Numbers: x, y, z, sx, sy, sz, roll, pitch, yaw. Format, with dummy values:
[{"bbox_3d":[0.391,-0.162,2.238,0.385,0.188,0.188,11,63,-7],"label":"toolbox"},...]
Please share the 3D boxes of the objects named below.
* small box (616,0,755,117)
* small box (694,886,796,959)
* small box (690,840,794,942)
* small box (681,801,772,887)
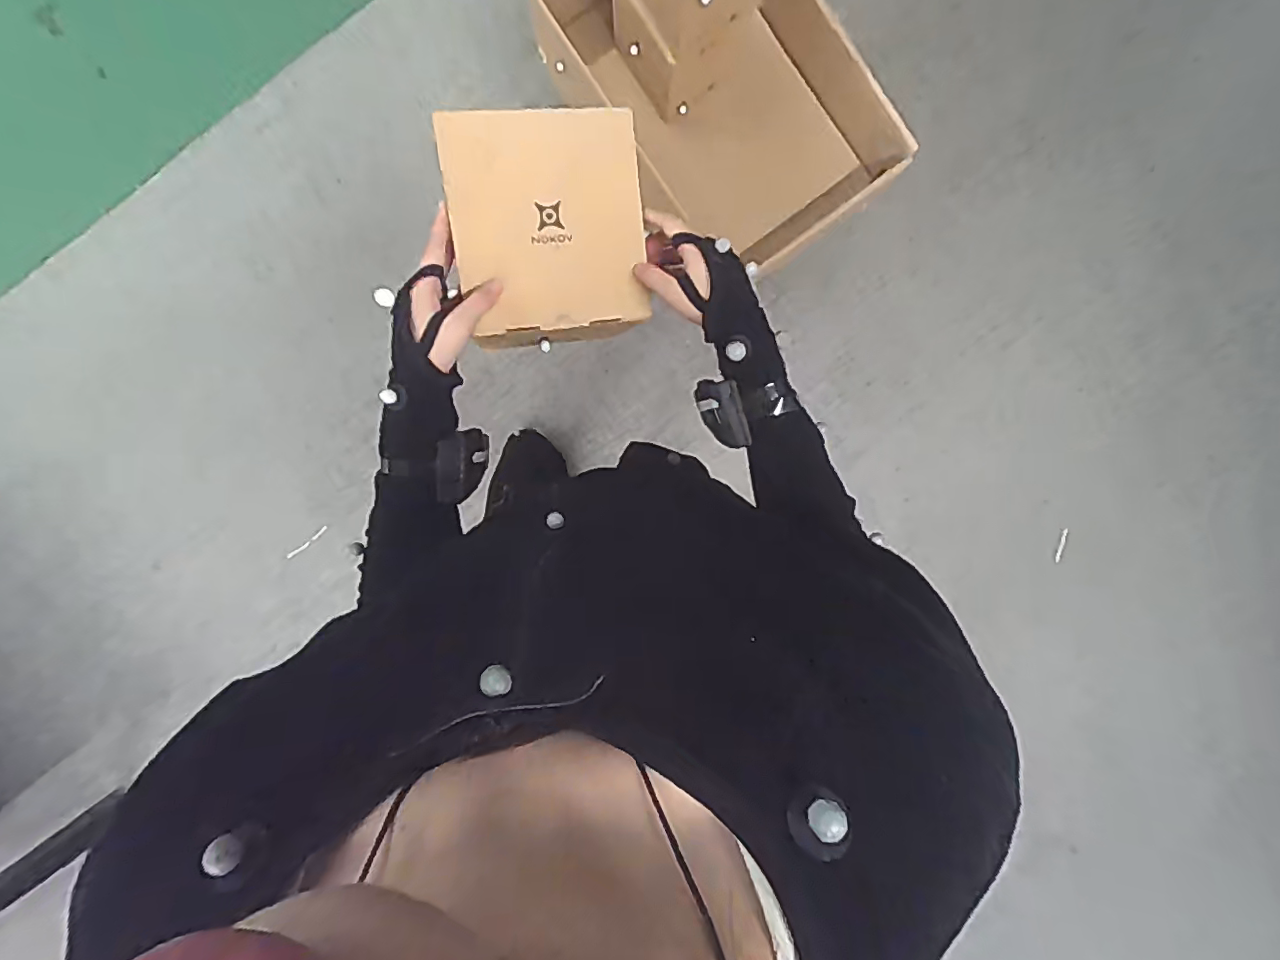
[{"bbox_3d":[0.074,-0.788,0.952,0.168,0.176,0.179,-34,93,1],"label":"small box"},{"bbox_3d":[0.229,1.039,1.159,0.179,0.176,0.168,-40,93,2],"label":"small box"},{"bbox_3d":[0.240,1.040,1.323,0.179,0.176,0.168,-38,92,1],"label":"small box"},{"bbox_3d":[0.229,1.037,1.487,0.179,0.176,0.168,-38,93,2],"label":"small box"}]
